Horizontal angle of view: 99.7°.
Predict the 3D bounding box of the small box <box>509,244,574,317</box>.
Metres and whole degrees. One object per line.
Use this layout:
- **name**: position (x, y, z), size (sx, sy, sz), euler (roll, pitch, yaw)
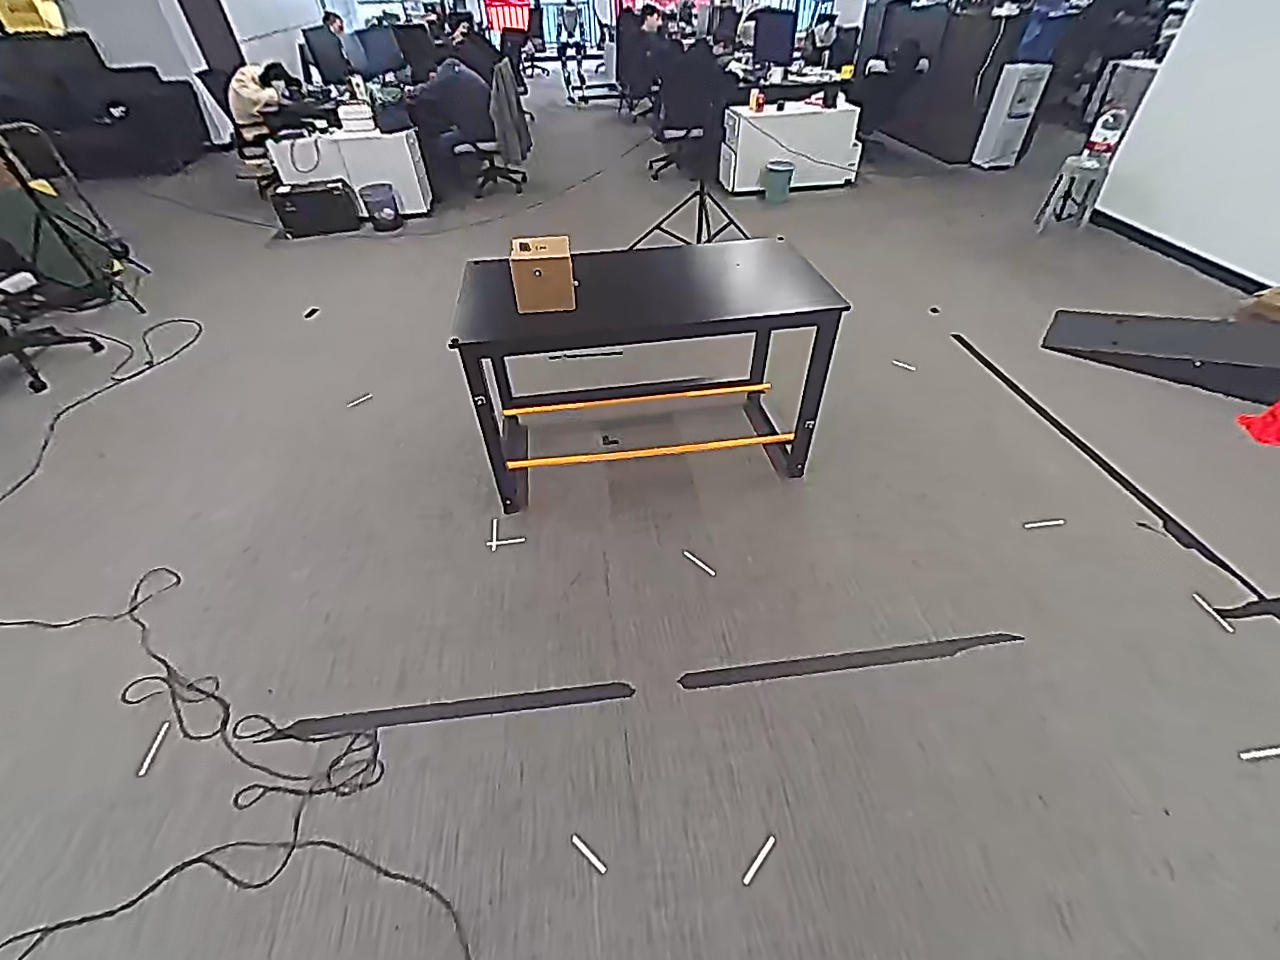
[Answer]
- **small box**: position (-0.303, -0.621, 1.693), size (0.179, 0.176, 0.168), euler (-5, 43, -5)
